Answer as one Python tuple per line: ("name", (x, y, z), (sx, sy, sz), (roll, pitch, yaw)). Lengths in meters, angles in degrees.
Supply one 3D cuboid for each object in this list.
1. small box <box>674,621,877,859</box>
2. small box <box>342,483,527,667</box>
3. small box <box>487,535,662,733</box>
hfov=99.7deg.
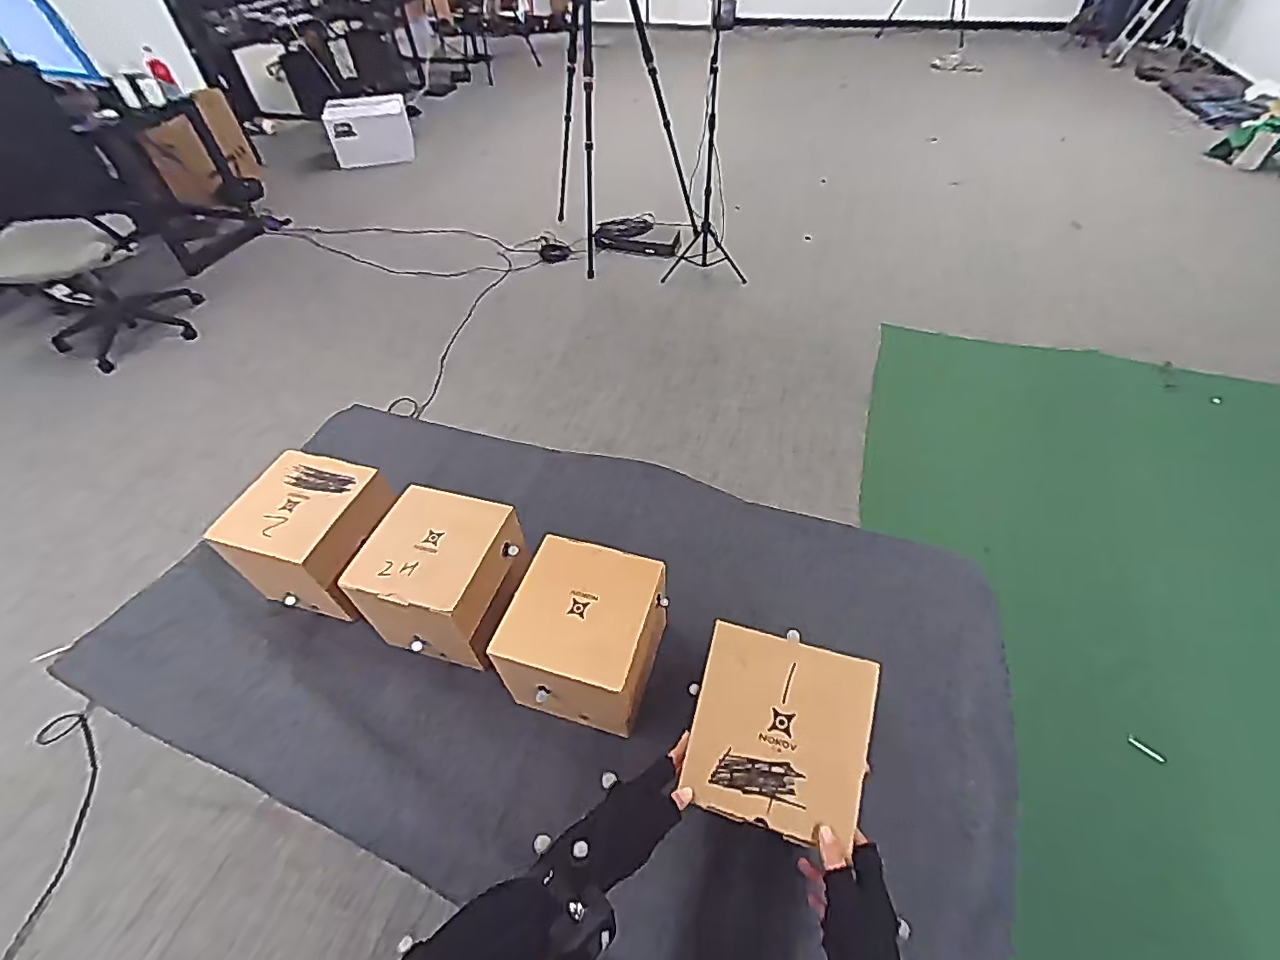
("small box", (0.147, 0.269, 0.602), (0.168, 0.176, 0.179), (13, 75, 13))
("small box", (-0.274, 0.136, 0.774), (0.168, 0.176, 0.179), (12, 50, 12))
("small box", (-0.070, 0.204, 0.710), (0.168, 0.176, 0.179), (12, 49, 13))
